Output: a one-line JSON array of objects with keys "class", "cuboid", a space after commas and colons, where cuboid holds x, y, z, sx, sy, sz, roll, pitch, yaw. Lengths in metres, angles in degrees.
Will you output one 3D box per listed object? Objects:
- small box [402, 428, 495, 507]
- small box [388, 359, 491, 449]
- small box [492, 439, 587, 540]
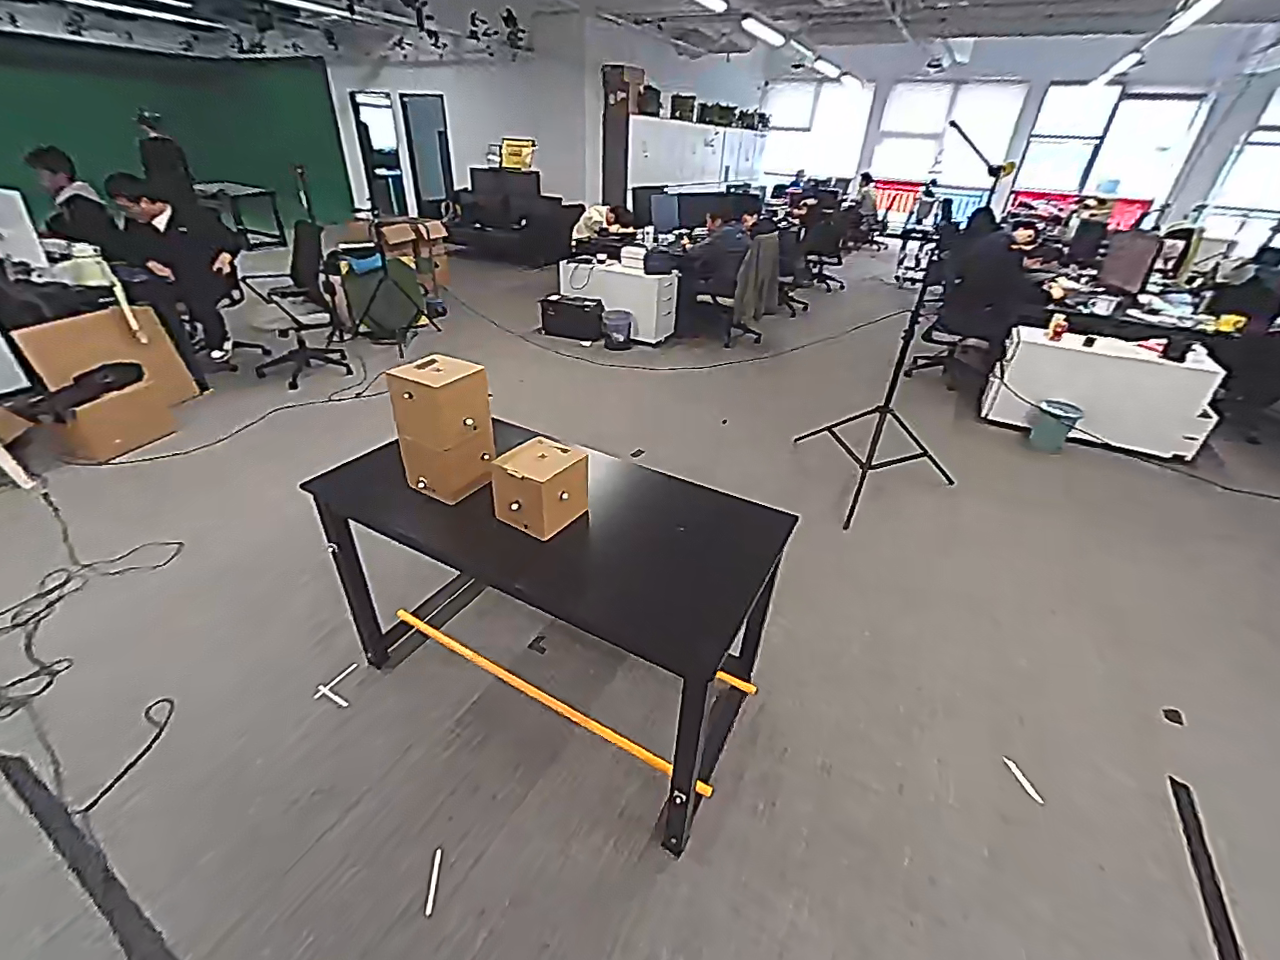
[{"class": "small box", "cuboid": [-0.509, -0.055, 1.465, 0.168, 0.176, 0.179, 17, 35, 24]}, {"class": "small box", "cuboid": [-0.503, -0.194, 1.377, 0.179, 0.176, 0.168, 18, 34, 22]}, {"class": "small box", "cuboid": [-0.244, 0.023, 1.358, 0.168, 0.176, 0.179, 21, 36, 25]}]
